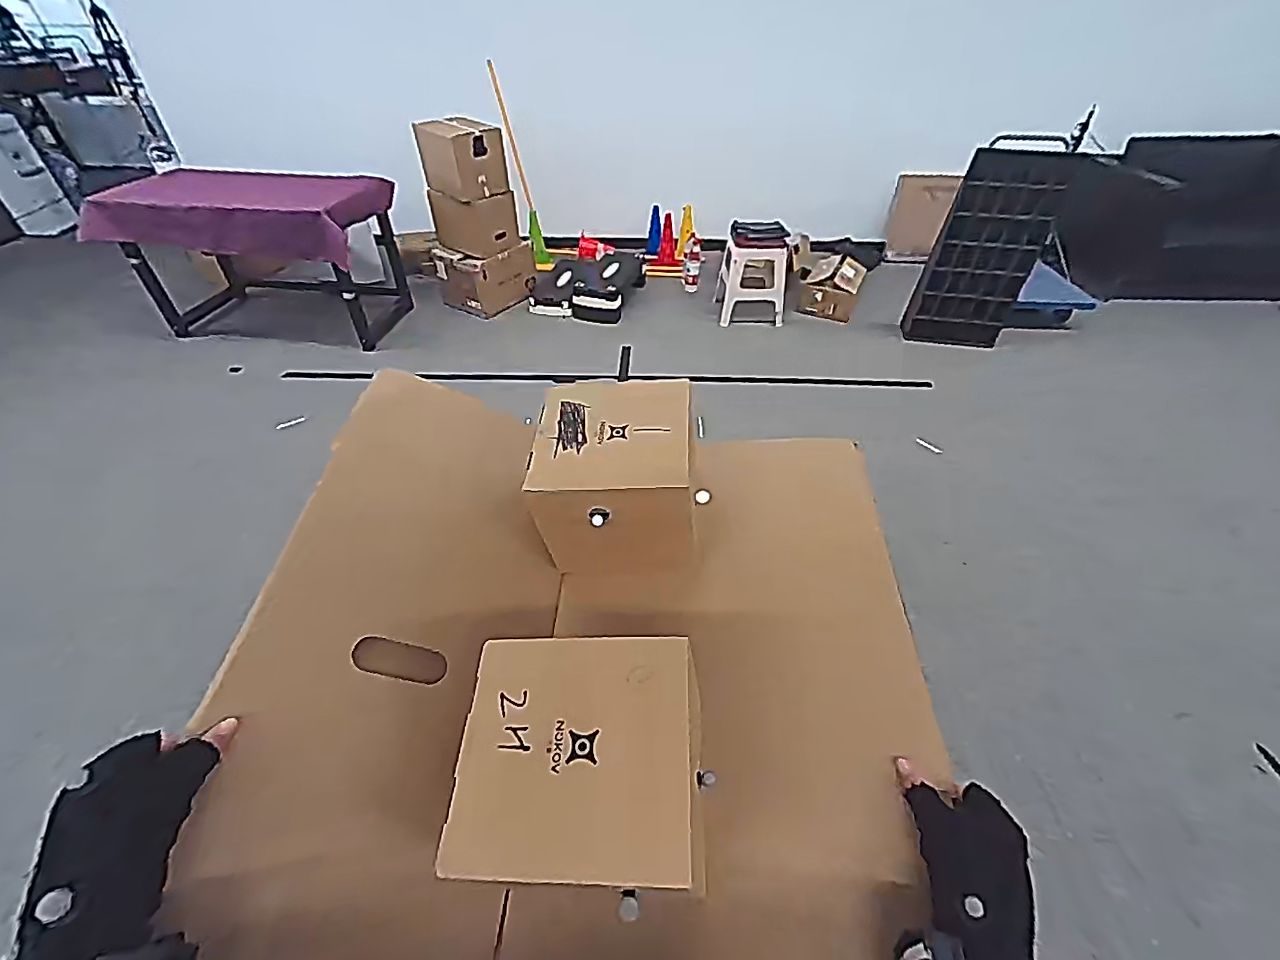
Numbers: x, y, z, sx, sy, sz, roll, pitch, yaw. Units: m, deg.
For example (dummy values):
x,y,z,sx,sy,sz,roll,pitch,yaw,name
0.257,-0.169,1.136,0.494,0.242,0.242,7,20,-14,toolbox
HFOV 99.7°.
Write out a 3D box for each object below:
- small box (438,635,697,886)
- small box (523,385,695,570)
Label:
x,y,z,sx,sy,sz,roll,pitch,yaw,name
-0.040,0.247,0.475,0.179,0.176,0.168,-3,50,9,small box
-0.024,0.002,0.674,0.179,0.176,0.168,-2,51,8,small box
